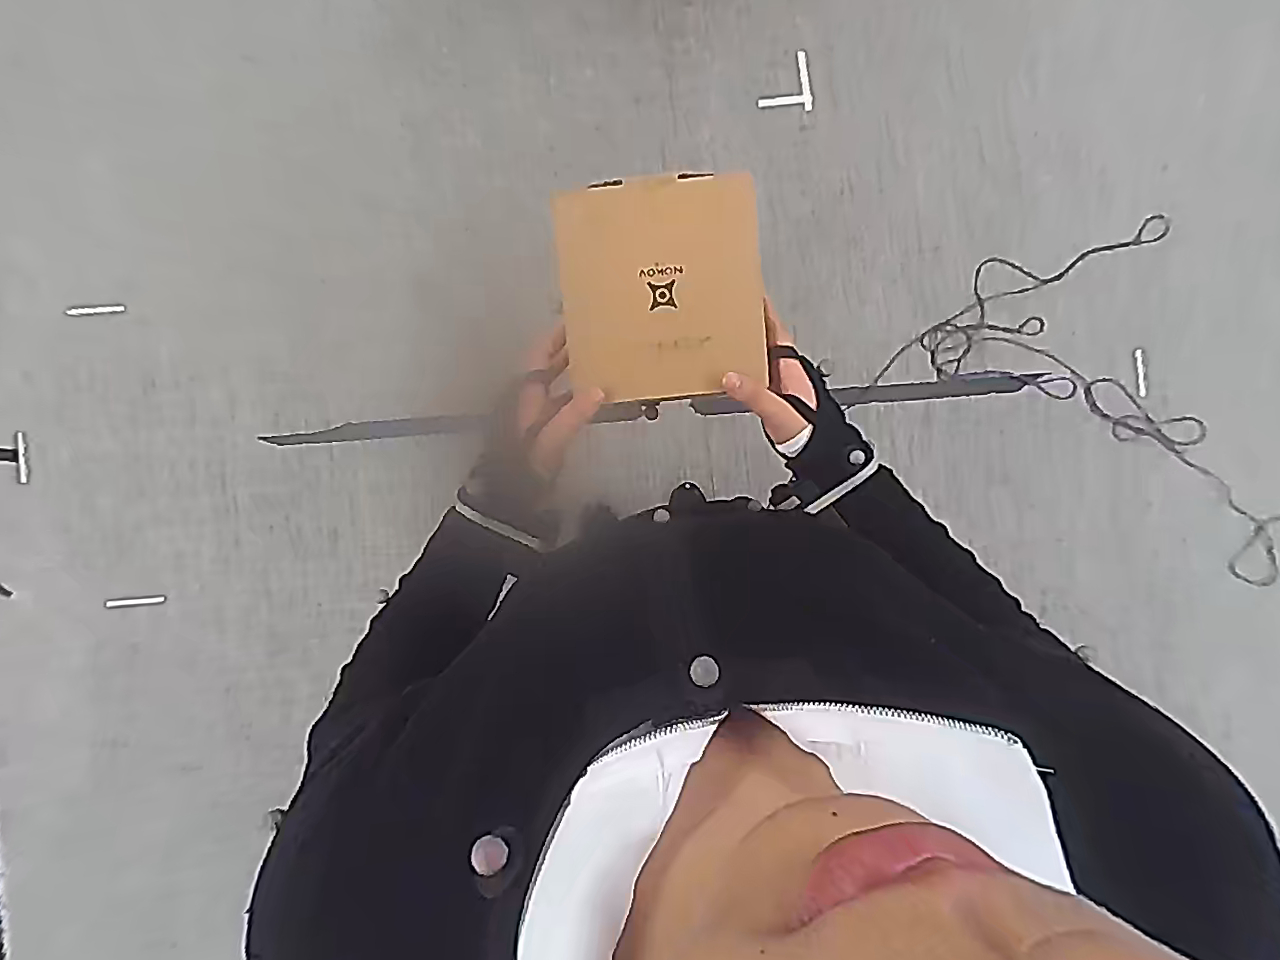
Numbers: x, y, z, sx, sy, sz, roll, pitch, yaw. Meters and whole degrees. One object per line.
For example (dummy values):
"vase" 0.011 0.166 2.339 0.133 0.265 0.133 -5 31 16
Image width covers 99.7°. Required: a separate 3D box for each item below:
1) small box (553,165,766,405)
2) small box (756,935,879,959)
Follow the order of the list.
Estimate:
"small box" 0.015 -0.169 0.521 0.168 0.176 0.179 -6 97 -1
"small box" 0.257 0.732 0.691 0.168 0.176 0.179 -10 89 -2
